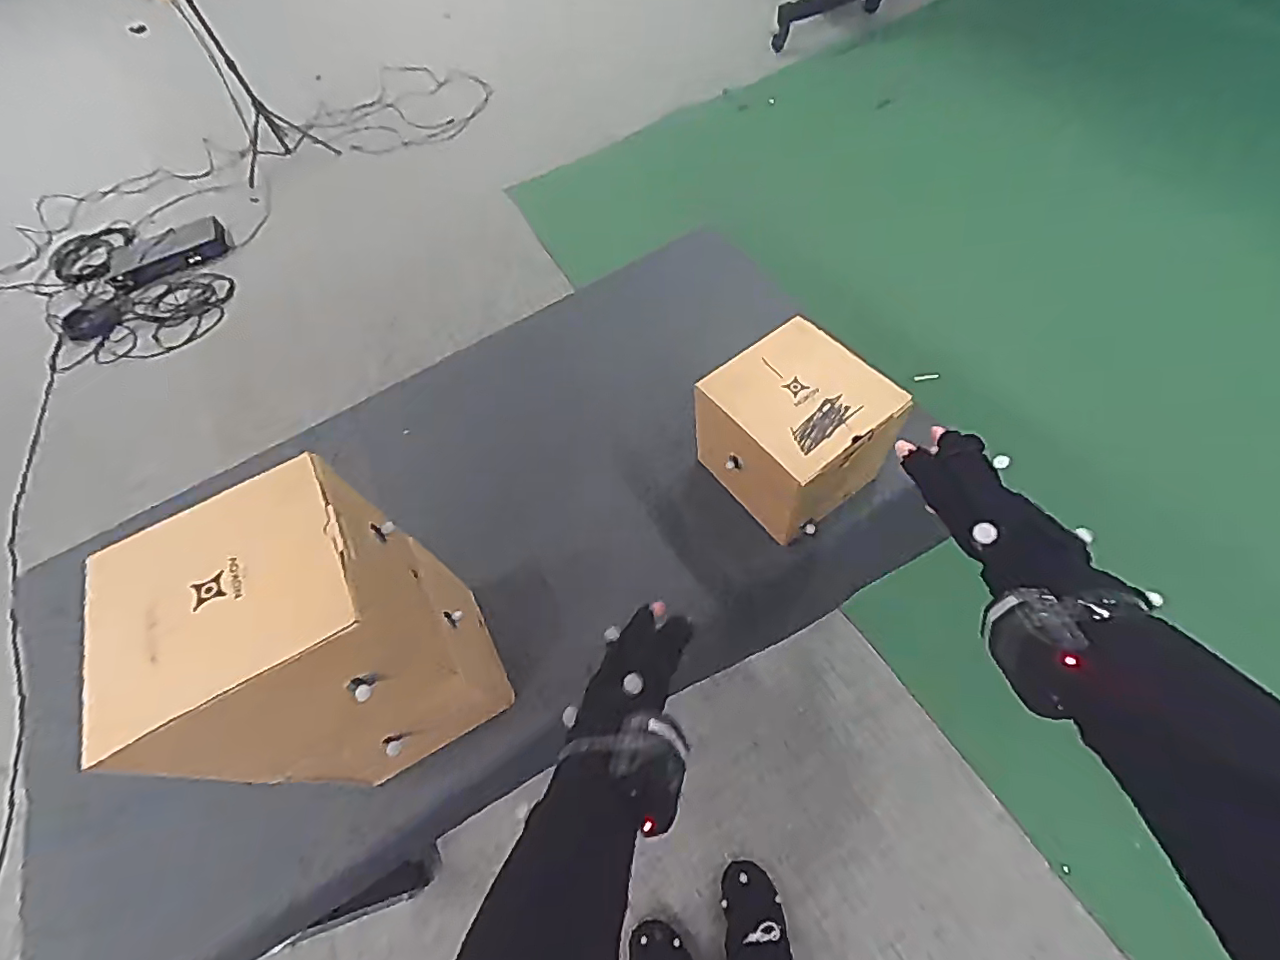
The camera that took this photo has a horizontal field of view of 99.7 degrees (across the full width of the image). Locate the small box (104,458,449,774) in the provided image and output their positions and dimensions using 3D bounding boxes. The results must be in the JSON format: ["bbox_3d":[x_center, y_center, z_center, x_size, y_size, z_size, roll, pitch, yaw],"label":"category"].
[{"bbox_3d":[-0.283,0.119,0.455,0.179,0.176,0.168,-29,58,-9],"label":"small box"}]

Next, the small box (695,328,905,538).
[{"bbox_3d":[0.188,-0.048,0.683,0.168,0.176,0.179,-34,60,-12],"label":"small box"}]

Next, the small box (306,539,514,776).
[{"bbox_3d":[-0.266,0.201,0.595,0.179,0.176,0.168,-28,59,-9],"label":"small box"}]
